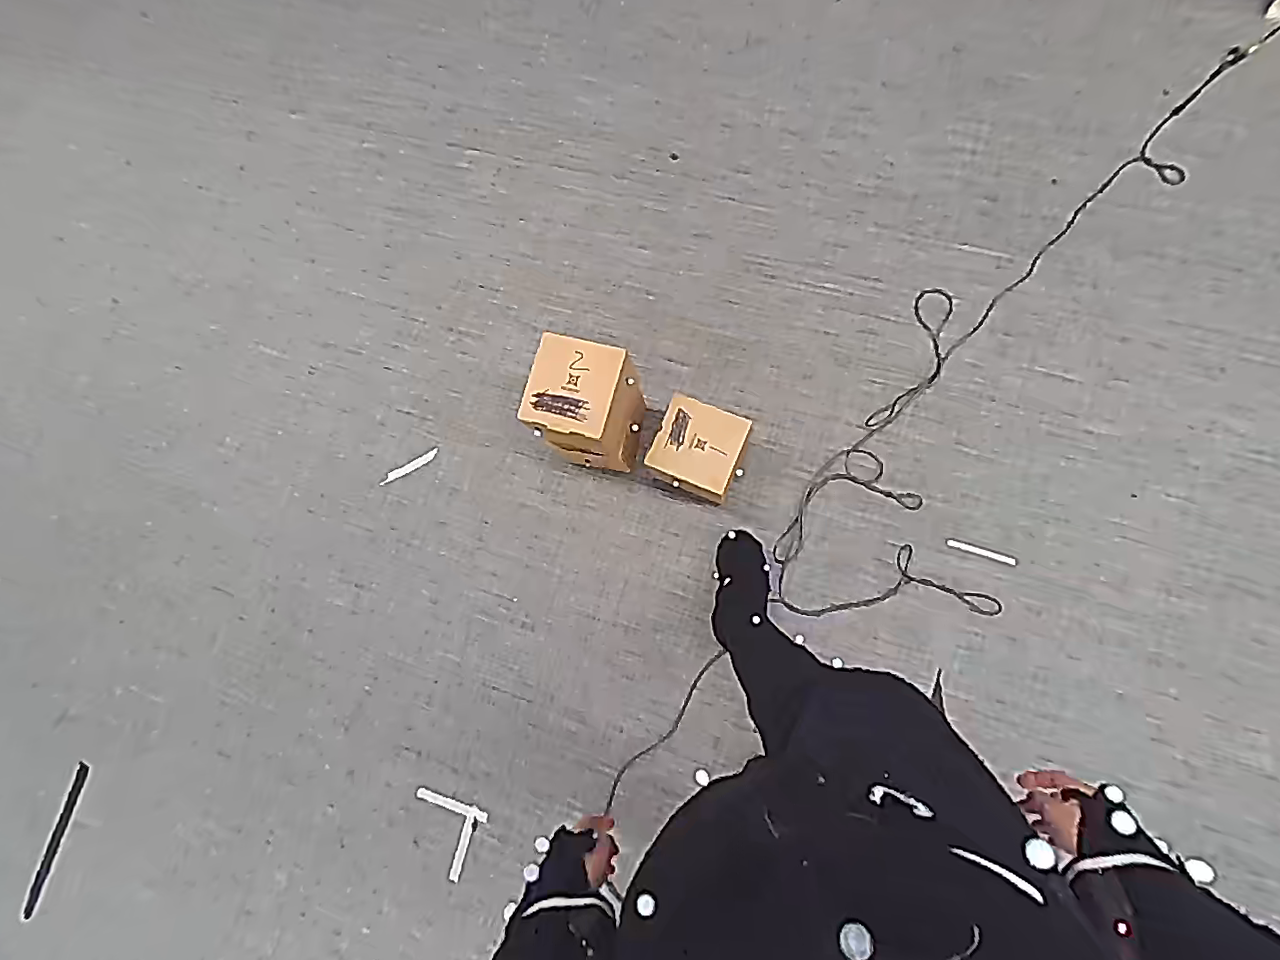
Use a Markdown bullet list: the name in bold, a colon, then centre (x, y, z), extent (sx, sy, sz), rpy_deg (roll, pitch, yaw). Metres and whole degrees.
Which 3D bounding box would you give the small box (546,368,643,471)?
- **small box**: centre (-0.094, -0.131, 1.217), extent (0.168, 0.176, 0.179), rpy_deg (10, 83, 10)

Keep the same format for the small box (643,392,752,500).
- **small box**: centre (0.126, -0.065, 1.171), extent (0.179, 0.176, 0.168), rpy_deg (23, 85, 11)
